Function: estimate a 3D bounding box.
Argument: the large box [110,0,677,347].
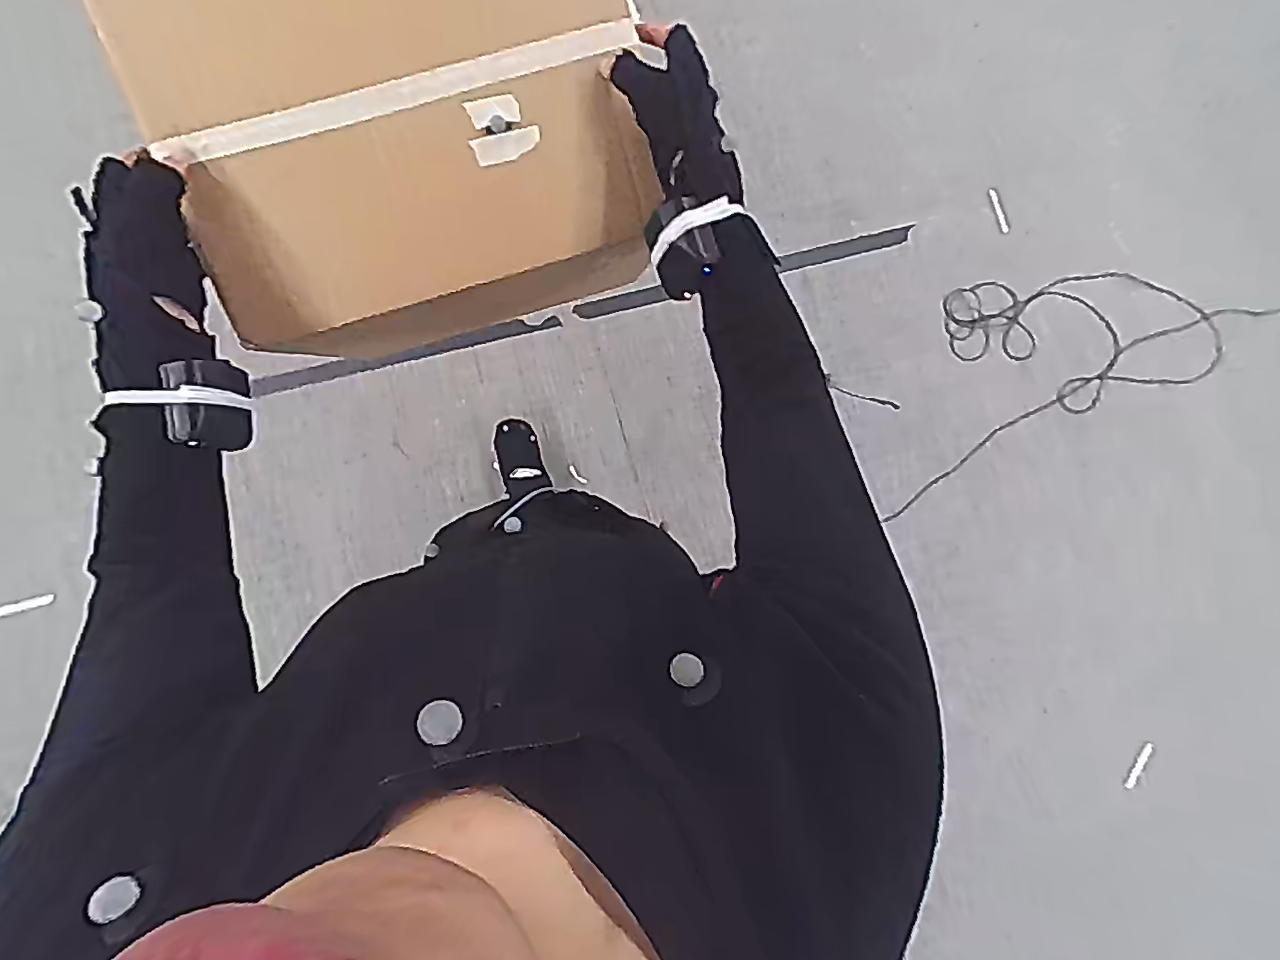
[{"bbox_3d":[-0.218,-0.364,0.603,0.408,0.320,0.320,-18,103,-5],"label":"large box"}]
